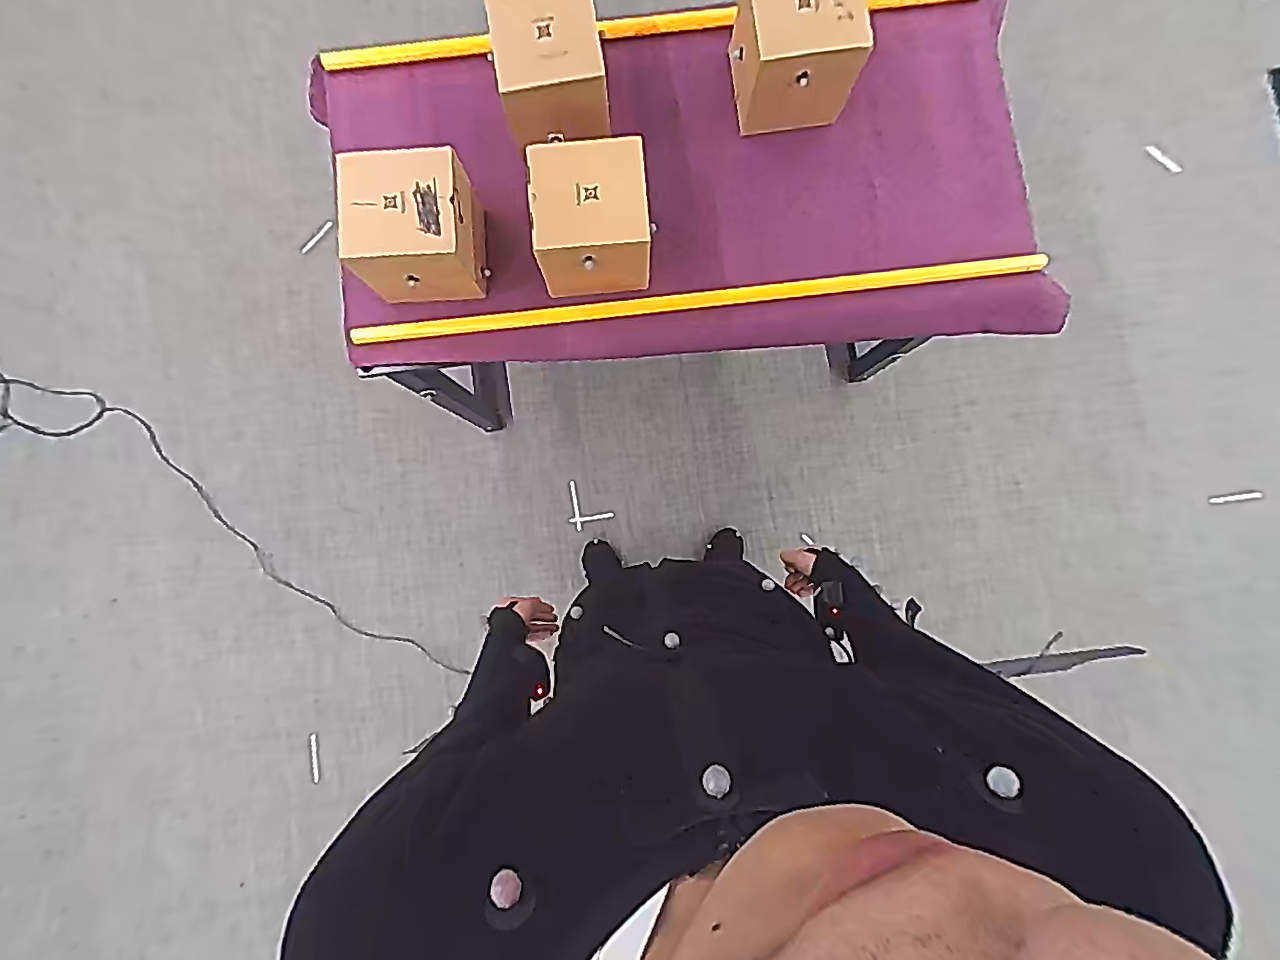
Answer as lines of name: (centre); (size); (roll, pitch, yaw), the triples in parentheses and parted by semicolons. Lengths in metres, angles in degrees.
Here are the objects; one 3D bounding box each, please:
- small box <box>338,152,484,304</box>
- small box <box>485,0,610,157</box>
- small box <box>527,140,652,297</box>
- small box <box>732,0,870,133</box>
small box: (-0.358, -0.398, 0.876); (0.179, 0.176, 0.168); (-3, 86, 0)
small box: (-0.146, -0.675, 0.898); (0.168, 0.176, 0.179); (-10, 87, 0)
small box: (-0.076, -0.414, 0.879); (0.179, 0.176, 0.168); (-5, 85, 1)
small box: (0.254, -0.713, 0.897); (0.179, 0.176, 0.168); (-7, 87, 0)
